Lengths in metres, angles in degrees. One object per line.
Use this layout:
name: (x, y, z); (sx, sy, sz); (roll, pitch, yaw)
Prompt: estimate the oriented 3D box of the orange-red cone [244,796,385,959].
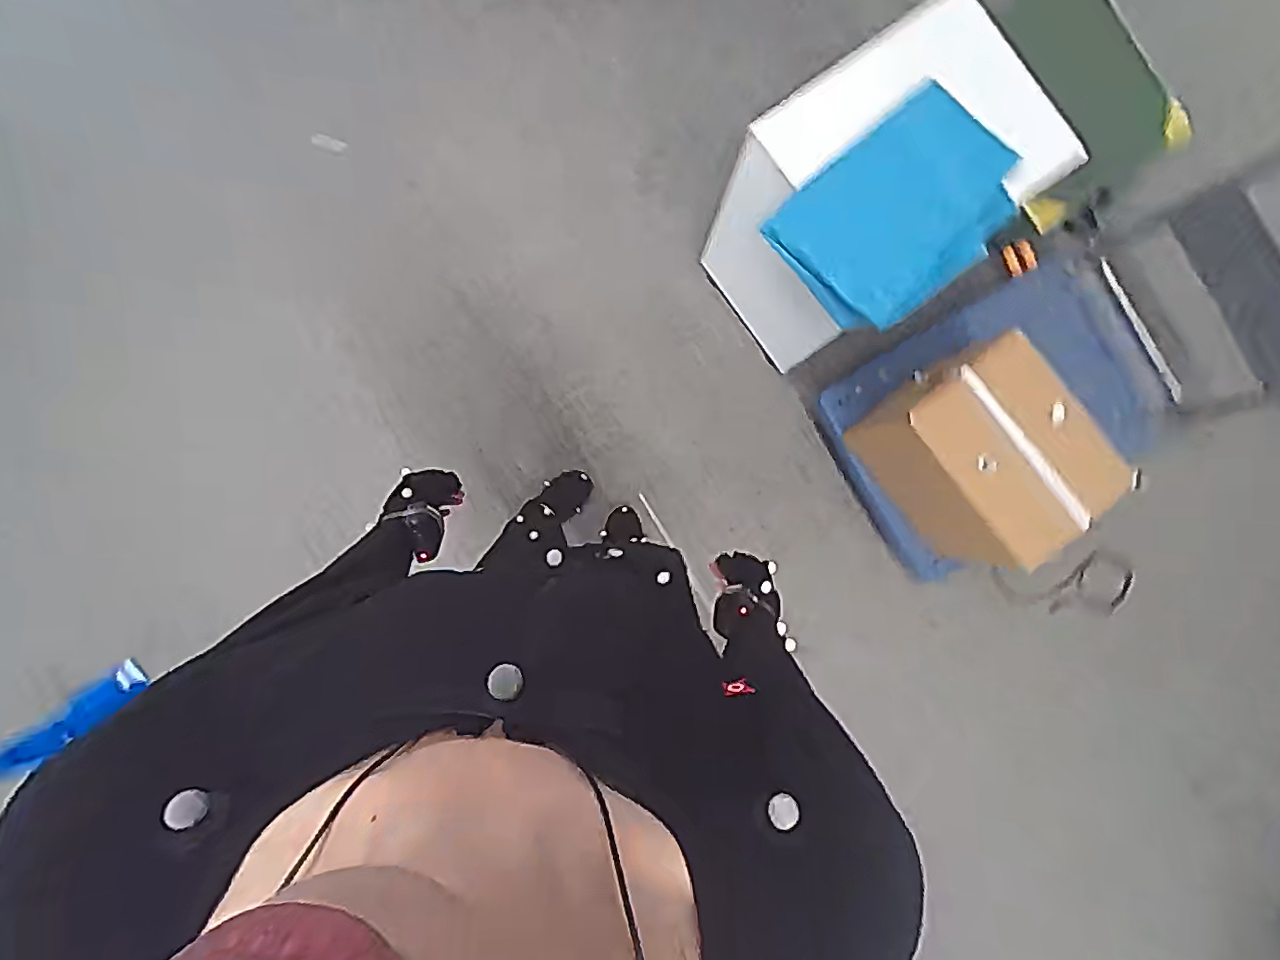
orange-red cone: (-0.795, 0.964, 1.272); (0.199, 0.360, 0.198); (-26, 89, -3)
